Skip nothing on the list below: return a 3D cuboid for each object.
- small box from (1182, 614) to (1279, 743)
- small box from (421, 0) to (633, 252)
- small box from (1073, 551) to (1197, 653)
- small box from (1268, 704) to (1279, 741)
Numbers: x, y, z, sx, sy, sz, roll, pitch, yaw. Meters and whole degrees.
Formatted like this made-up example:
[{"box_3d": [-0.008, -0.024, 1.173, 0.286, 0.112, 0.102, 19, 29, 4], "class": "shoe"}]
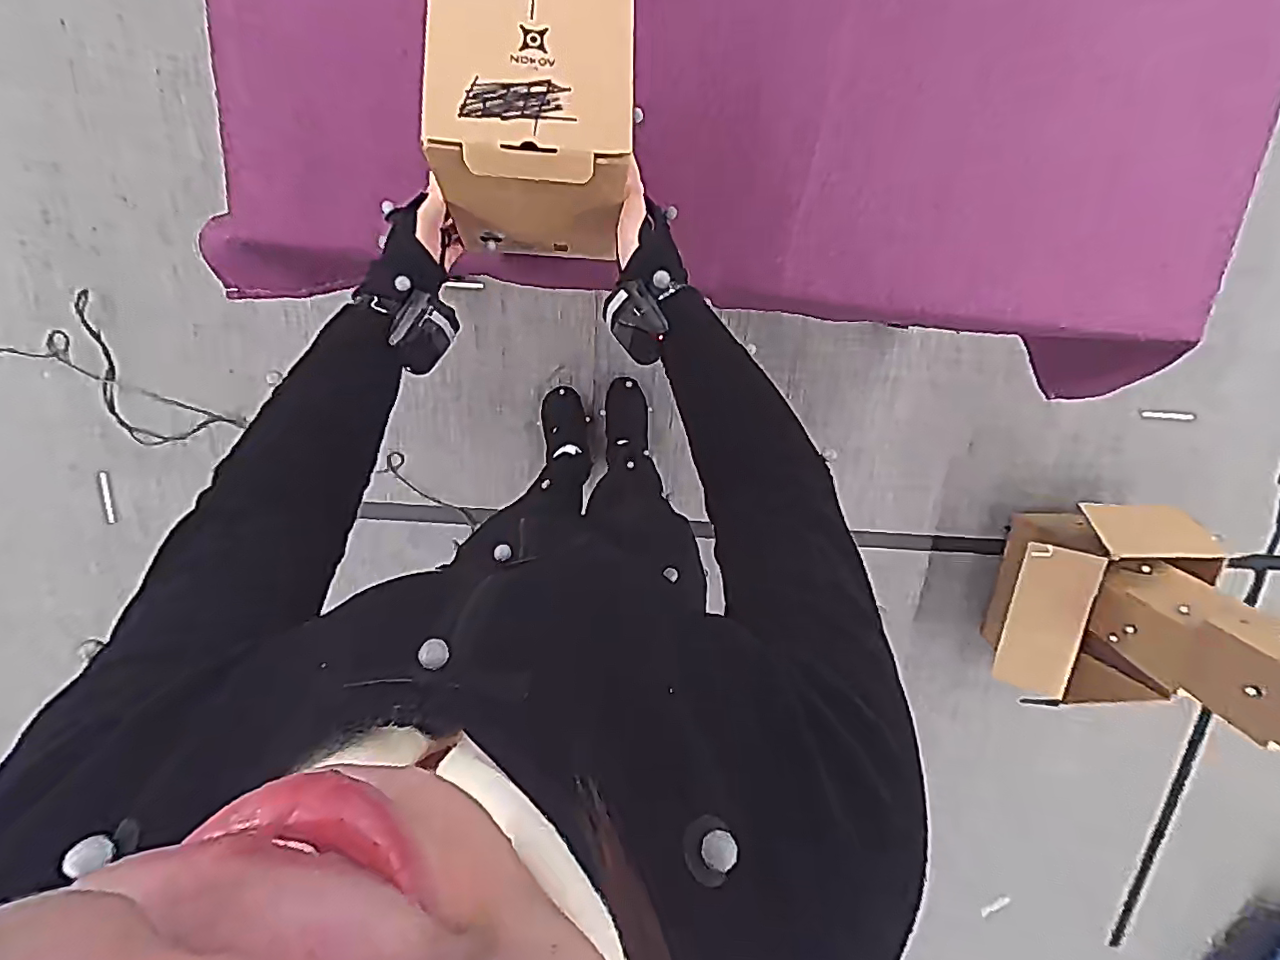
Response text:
[{"box_3d": [1.206, 0.370, 1.033, 0.168, 0.176, 0.179, -3, 109, 2], "class": "small box"}, {"box_3d": [-0.095, -0.338, 0.512, 0.168, 0.176, 0.179, 1, 85, -6], "class": "small box"}, {"box_3d": [1.227, 0.294, 1.354, 0.168, 0.176, 0.179, -16, 109, 5], "class": "small box"}, {"box_3d": [1.206, 0.405, 0.872, 0.179, 0.176, 0.168, -2, 109, 1], "class": "small box"}]
